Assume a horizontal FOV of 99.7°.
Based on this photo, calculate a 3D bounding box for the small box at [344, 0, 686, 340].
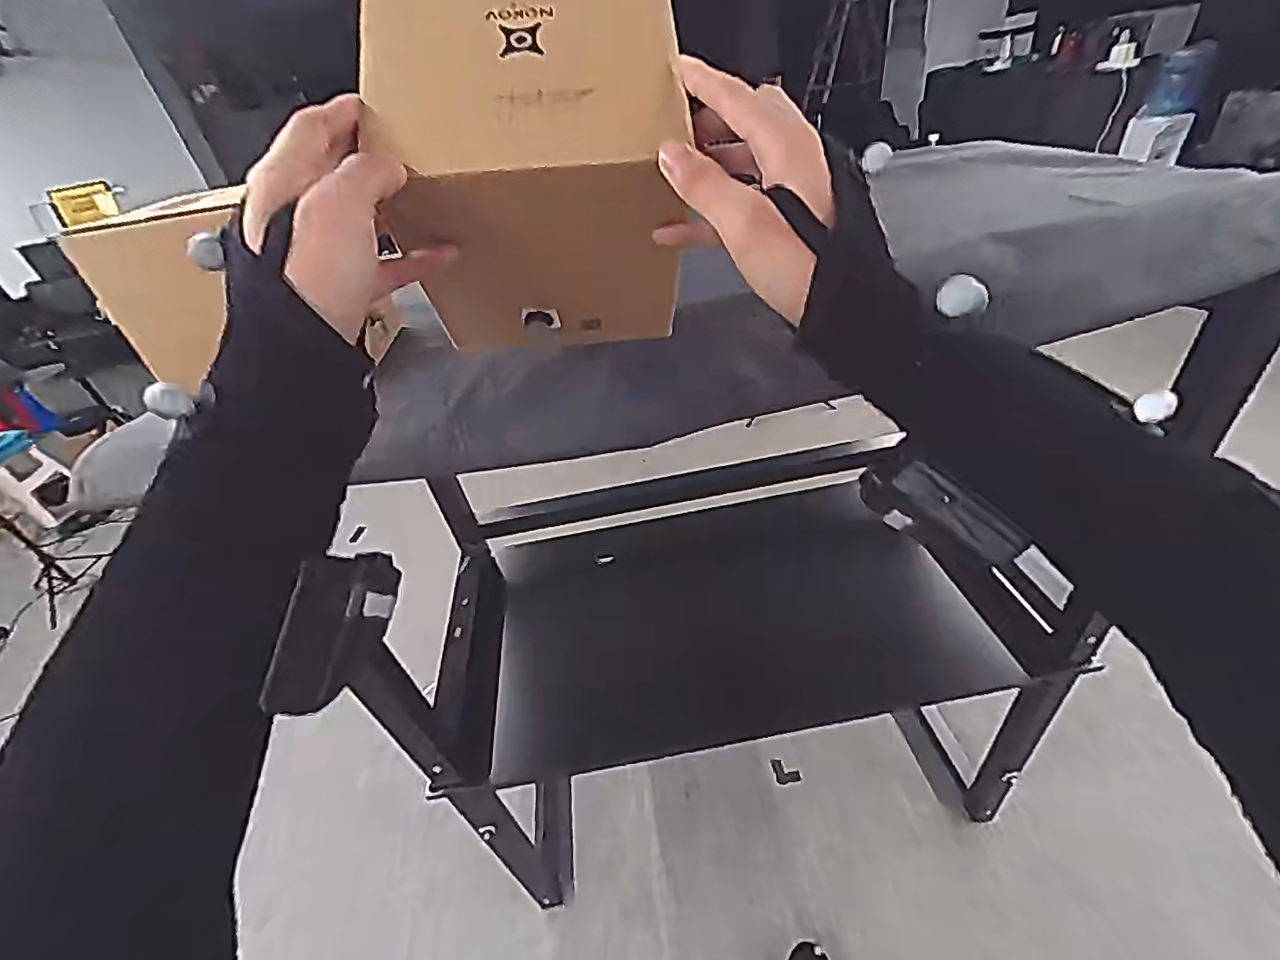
[{"bbox_3d":[-0.069,-0.217,0.359,0.168,0.176,0.179,-6,73,-3],"label":"small box"}]
